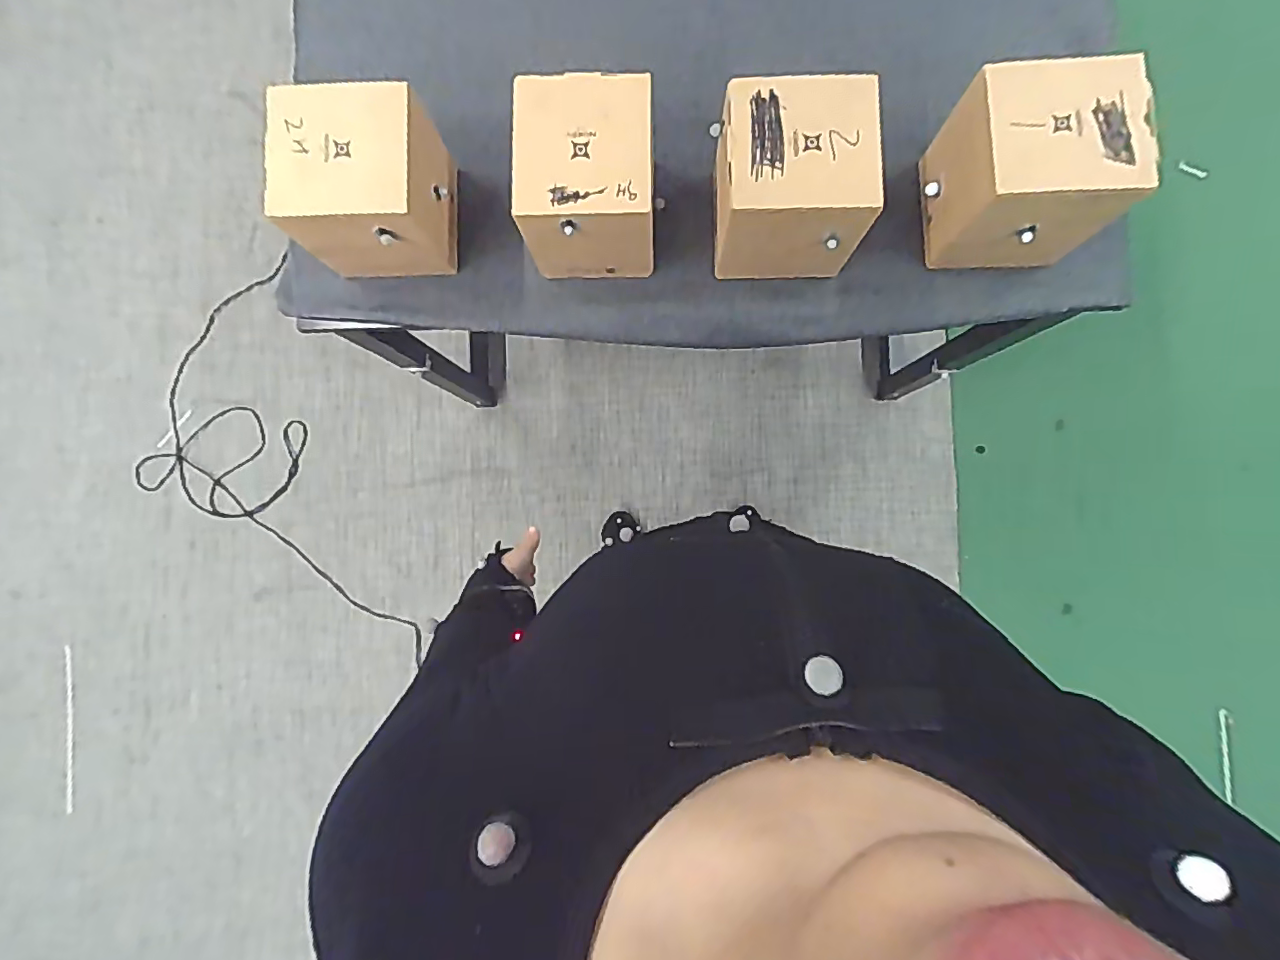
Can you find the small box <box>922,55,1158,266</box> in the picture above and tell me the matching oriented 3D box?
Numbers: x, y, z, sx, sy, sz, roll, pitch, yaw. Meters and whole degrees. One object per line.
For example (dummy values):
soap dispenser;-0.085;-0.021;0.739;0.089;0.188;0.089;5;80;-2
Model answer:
small box;0.483;-0.386;0.680;0.179;0.176;0.168;0;83;4
